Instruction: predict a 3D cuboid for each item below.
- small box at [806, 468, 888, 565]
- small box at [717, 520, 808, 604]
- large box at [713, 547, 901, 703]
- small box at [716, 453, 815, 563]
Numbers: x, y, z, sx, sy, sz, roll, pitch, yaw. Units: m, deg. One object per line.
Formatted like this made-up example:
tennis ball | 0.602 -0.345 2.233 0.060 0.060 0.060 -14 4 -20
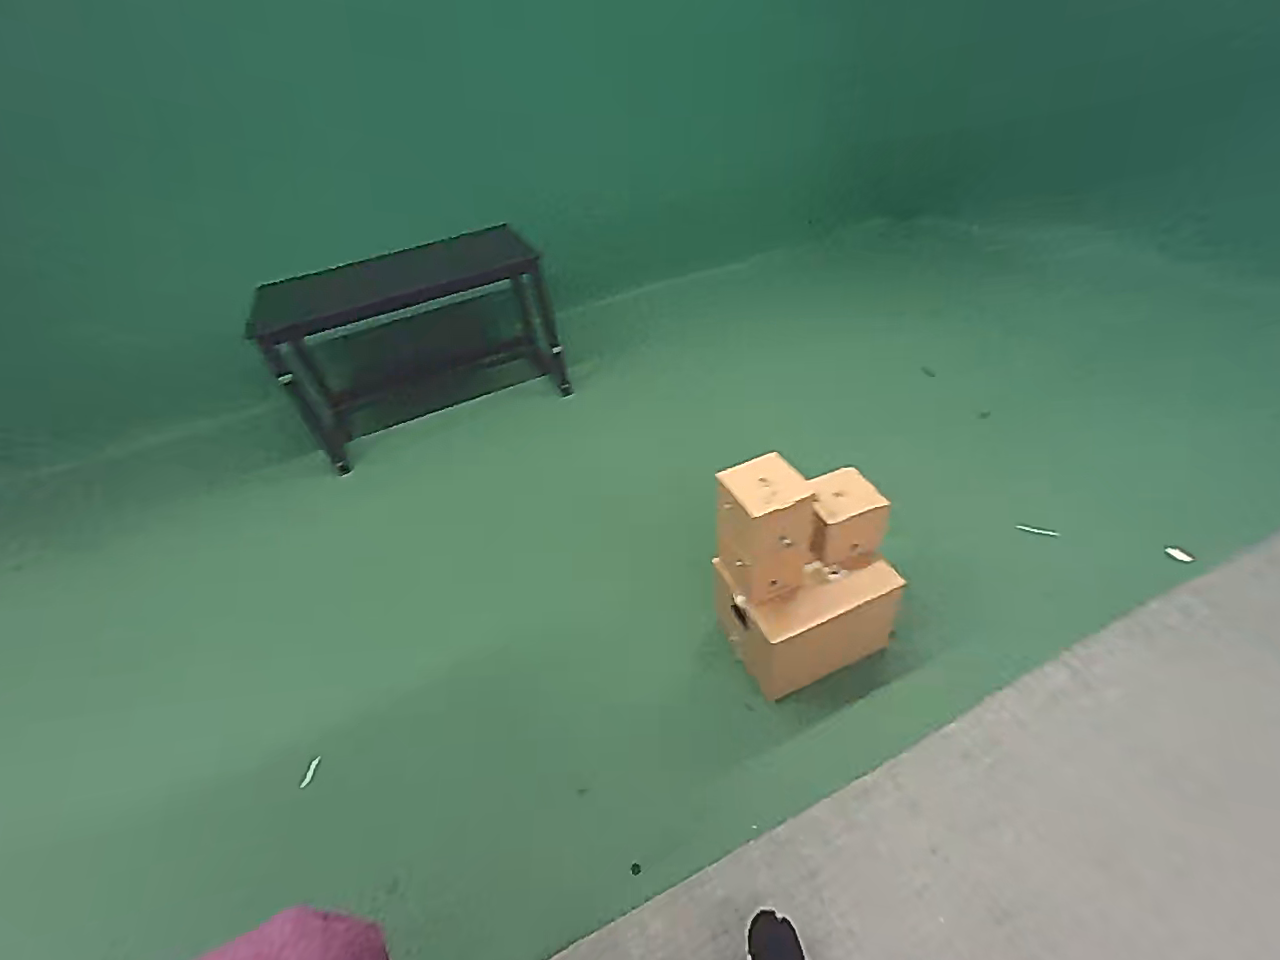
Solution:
small box | 0.539 0.101 1.473 0.179 0.176 0.168 -18 41 -8
small box | 0.314 0.191 1.418 0.168 0.176 0.179 -20 42 -13
large box | 0.461 0.364 1.562 0.408 0.320 0.320 -20 42 -13
small box | 0.297 0.068 1.309 0.168 0.176 0.179 -21 42 -13
